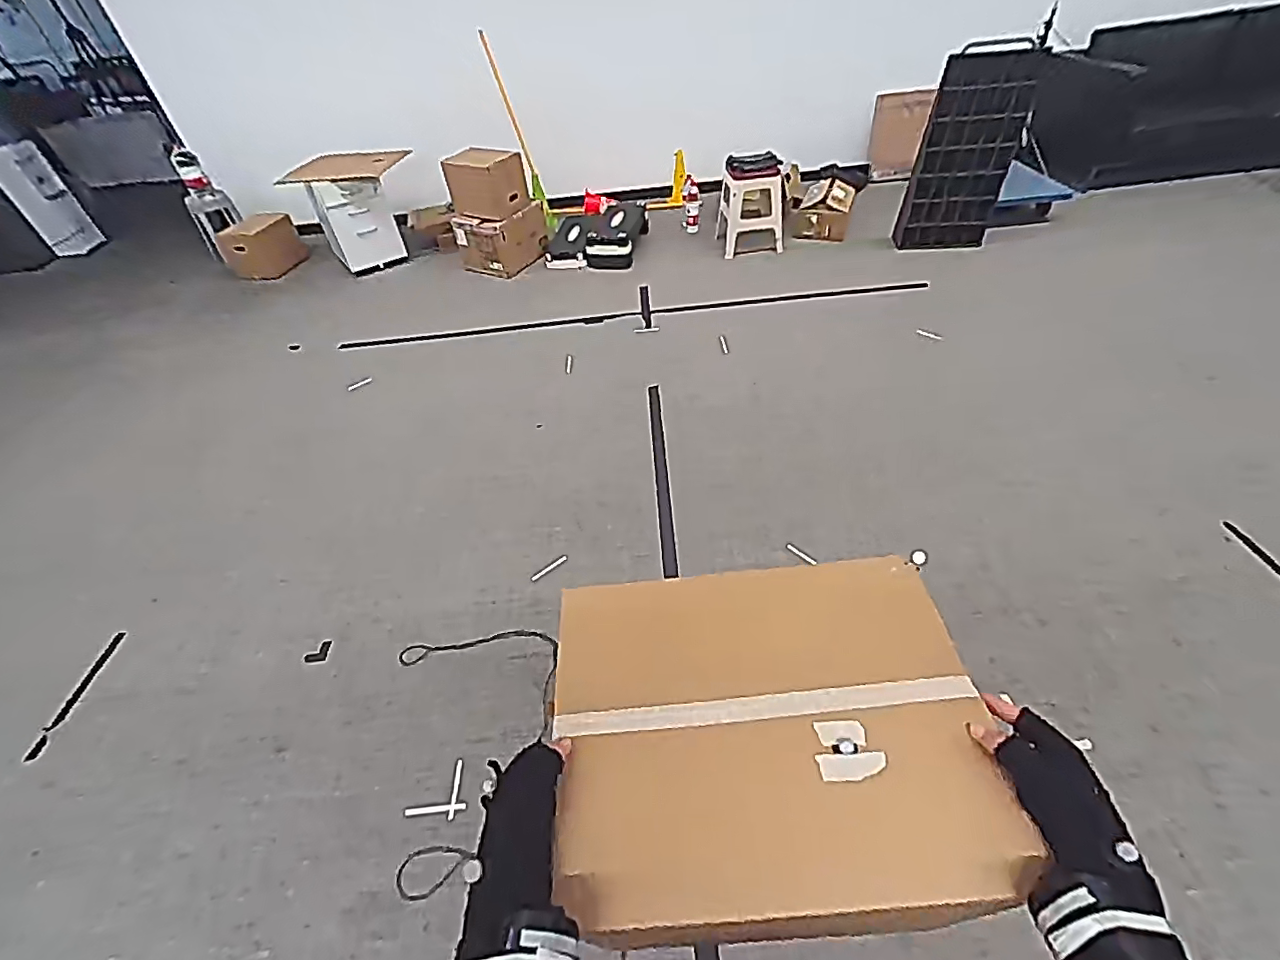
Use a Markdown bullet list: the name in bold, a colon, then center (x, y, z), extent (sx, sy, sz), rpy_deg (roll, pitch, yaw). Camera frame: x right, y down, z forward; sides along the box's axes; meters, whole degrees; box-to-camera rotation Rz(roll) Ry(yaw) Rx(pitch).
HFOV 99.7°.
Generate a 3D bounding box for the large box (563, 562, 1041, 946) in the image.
- **large box**: center (0.134, 0.332, 0.650), extent (0.408, 0.320, 0.320), rpy_deg (-6, 47, 2)
